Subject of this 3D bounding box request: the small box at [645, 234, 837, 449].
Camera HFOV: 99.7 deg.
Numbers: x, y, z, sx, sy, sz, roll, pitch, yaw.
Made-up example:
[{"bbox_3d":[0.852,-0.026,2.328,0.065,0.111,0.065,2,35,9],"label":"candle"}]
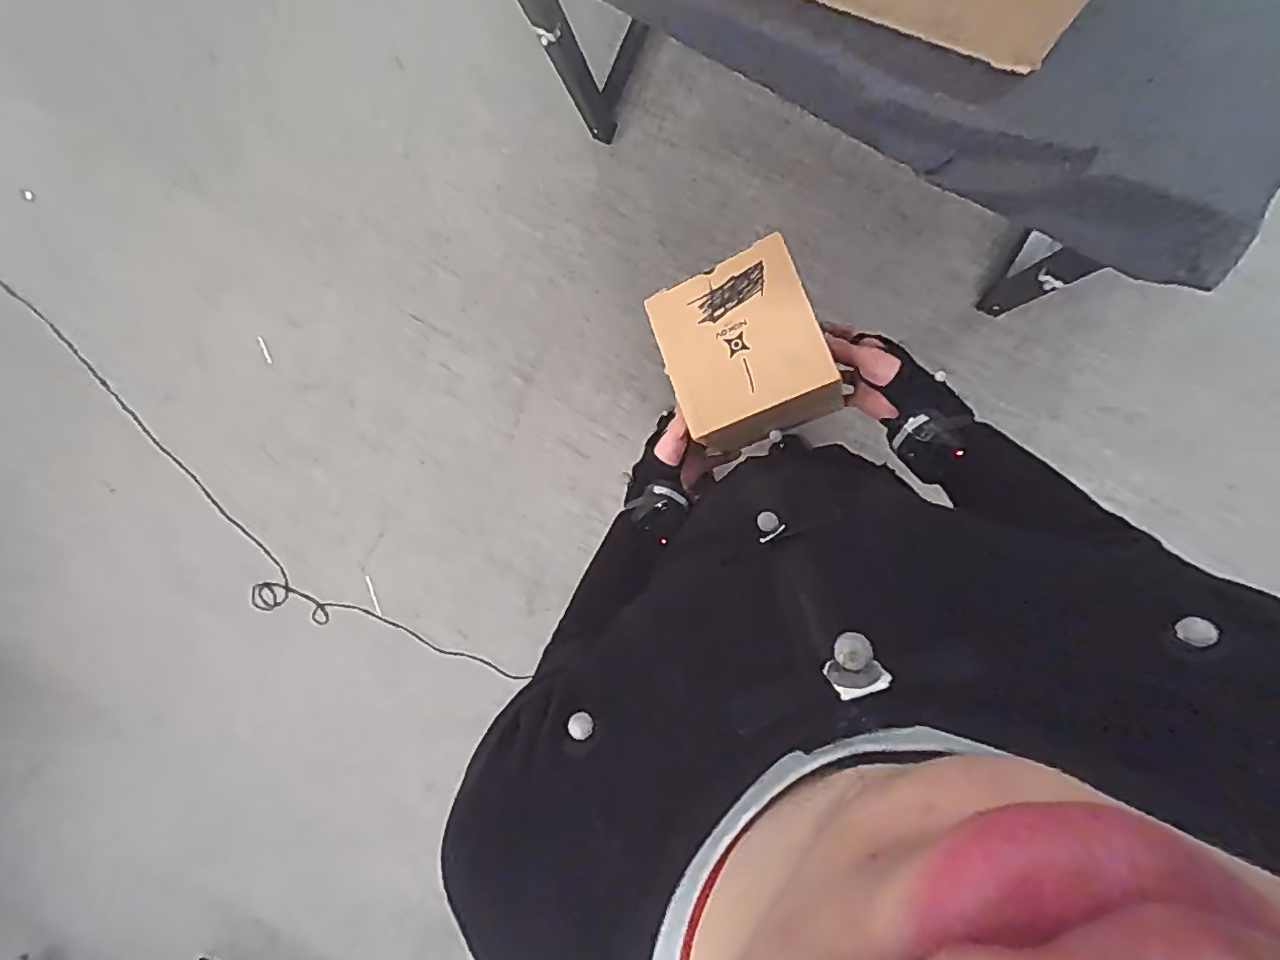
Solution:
[{"bbox_3d":[0.130,-0.151,0.659,0.168,0.176,0.179,-22,80,19],"label":"small box"}]
